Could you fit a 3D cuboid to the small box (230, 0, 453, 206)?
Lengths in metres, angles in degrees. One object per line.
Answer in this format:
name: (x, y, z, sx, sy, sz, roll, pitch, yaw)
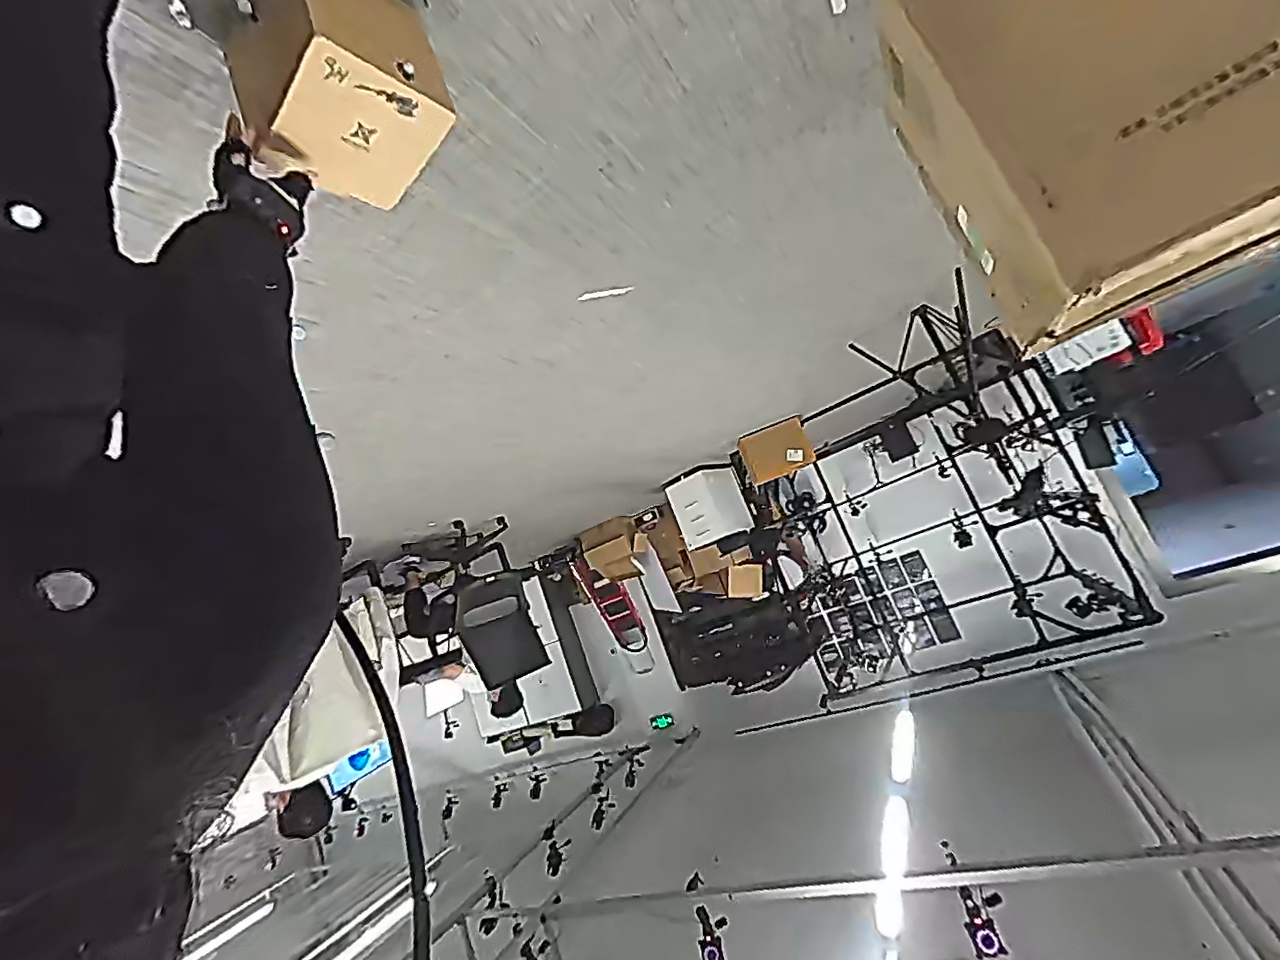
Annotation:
small box: (-0.359, -0.480, 0.645, 0.179, 0.176, 0.168, -27, 167, 33)
